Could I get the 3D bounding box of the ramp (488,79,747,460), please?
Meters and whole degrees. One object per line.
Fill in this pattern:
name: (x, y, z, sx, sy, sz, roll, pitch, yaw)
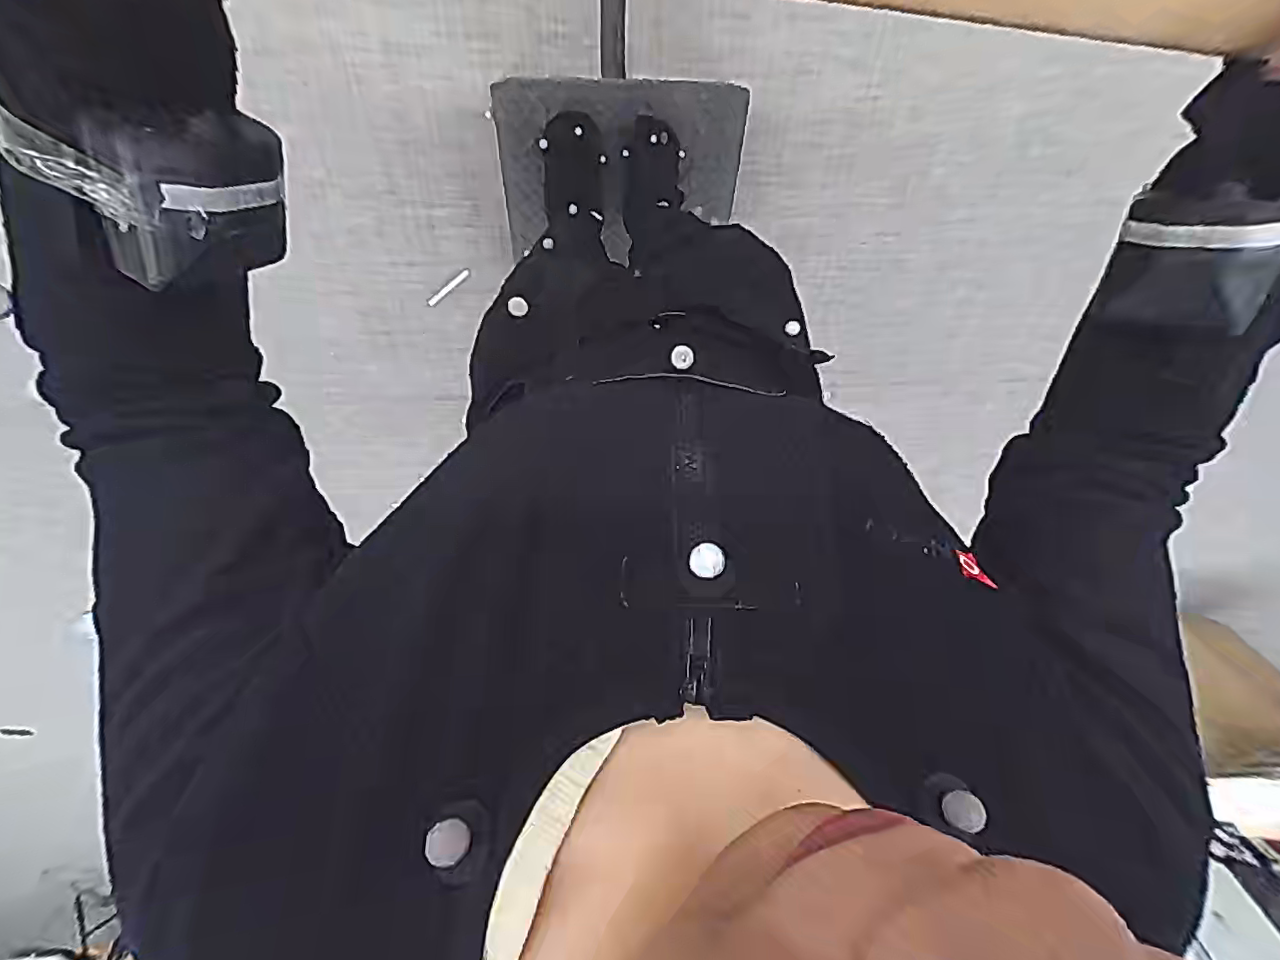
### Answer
ramp: (-0.055, -0.407, 1.374, 0.509, 0.206, 0.991, -4, 129, -5)
